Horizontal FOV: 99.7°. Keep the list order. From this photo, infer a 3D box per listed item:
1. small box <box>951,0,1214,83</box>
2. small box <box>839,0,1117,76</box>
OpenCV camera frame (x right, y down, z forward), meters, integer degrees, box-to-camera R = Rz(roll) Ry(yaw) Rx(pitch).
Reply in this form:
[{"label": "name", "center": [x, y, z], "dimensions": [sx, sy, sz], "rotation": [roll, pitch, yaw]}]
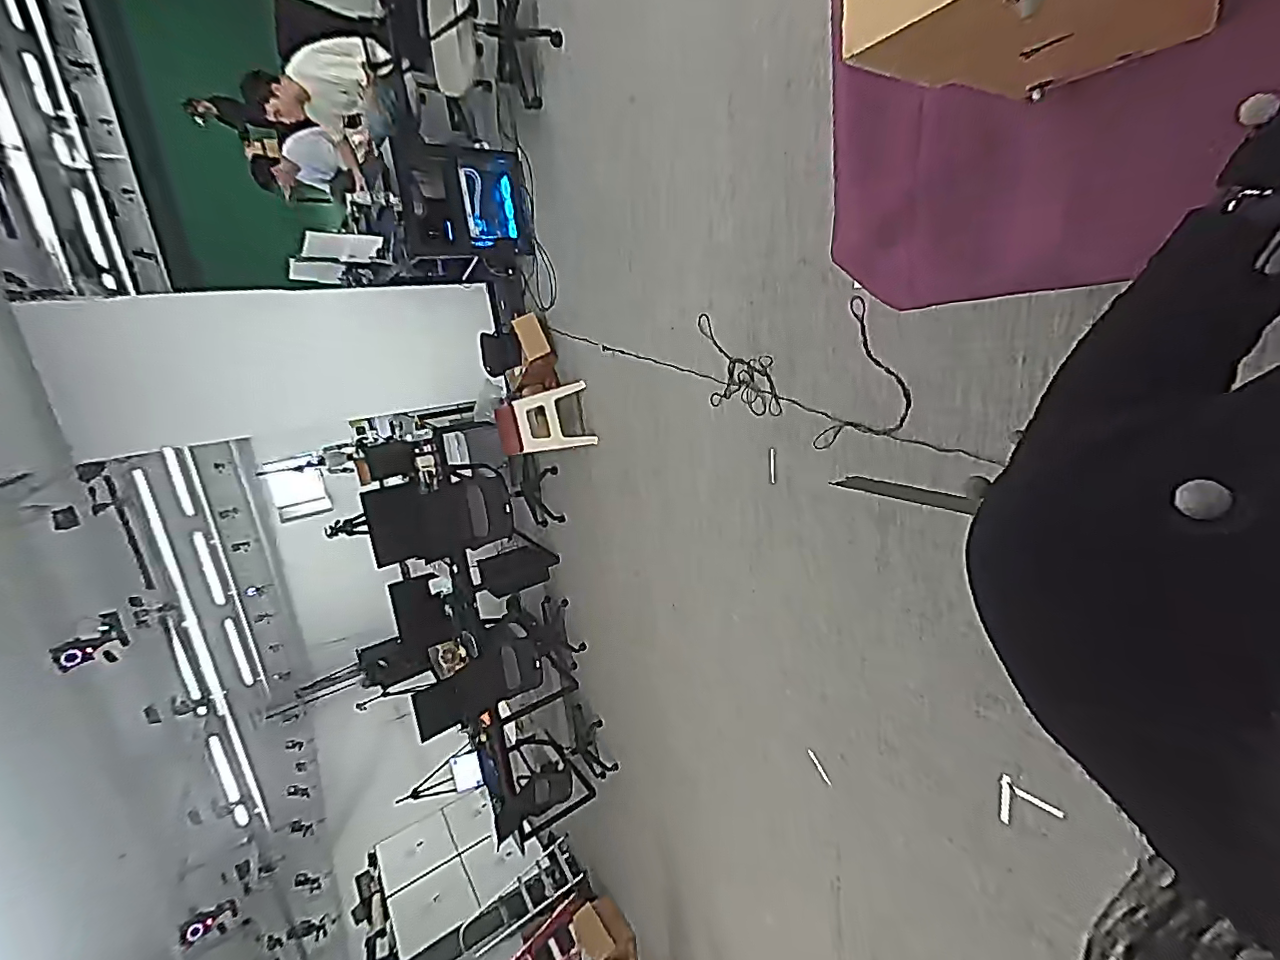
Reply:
[{"label": "small box", "center": [0.415, -0.502, 0.504], "dimensions": [0.168, 0.176, 0.179], "rotation": [17, 117, 54]}, {"label": "small box", "center": [0.280, -0.453, 0.423], "dimensions": [0.179, 0.176, 0.168], "rotation": [16, 117, 54]}]
